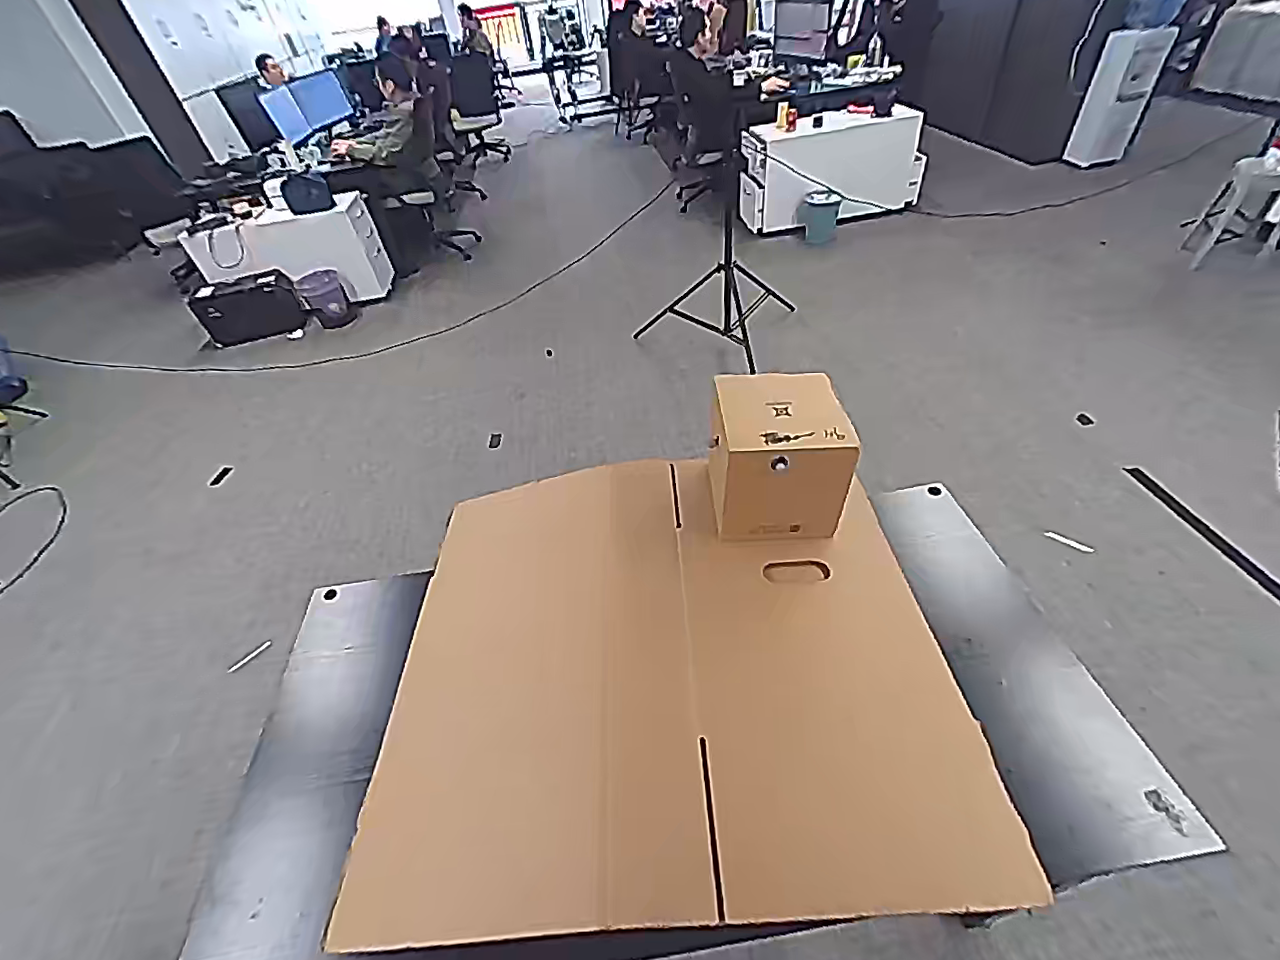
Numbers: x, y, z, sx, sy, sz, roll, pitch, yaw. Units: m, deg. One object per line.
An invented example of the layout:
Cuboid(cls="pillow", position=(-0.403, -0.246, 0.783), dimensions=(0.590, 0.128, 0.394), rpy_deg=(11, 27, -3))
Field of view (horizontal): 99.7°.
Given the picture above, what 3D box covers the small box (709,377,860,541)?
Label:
Cuboid(cls="small box", position=(0.192, -0.031, 0.779), dimensions=(0.168, 0.176, 0.179), rpy_deg=(-2, 42, 1))
